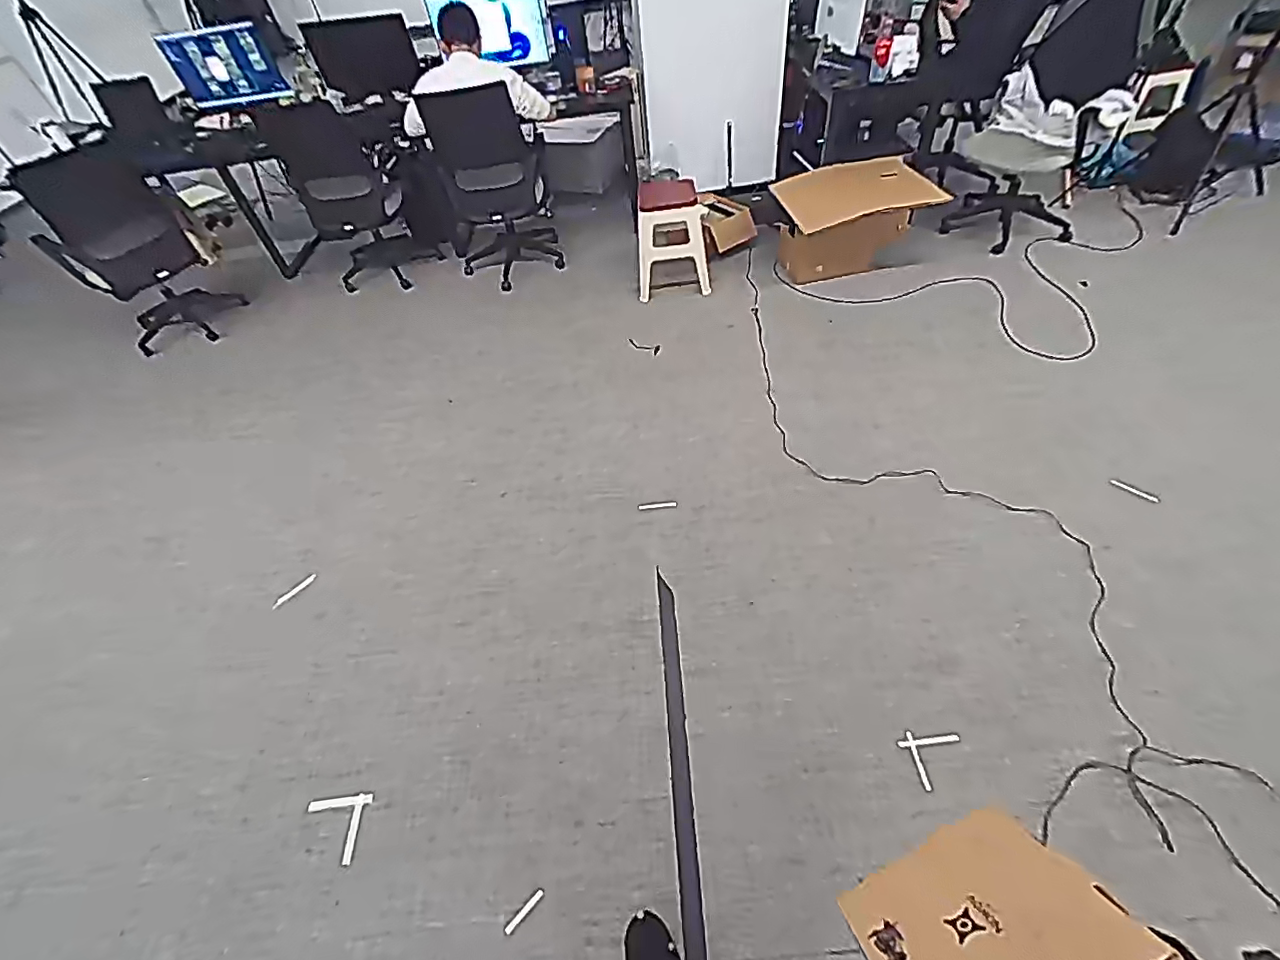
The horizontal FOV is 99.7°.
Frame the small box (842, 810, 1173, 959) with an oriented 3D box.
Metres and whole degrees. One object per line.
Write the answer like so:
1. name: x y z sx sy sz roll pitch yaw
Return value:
1. small box: 0.302 0.420 0.428 0.179 0.168 0.176 -27 89 -3
